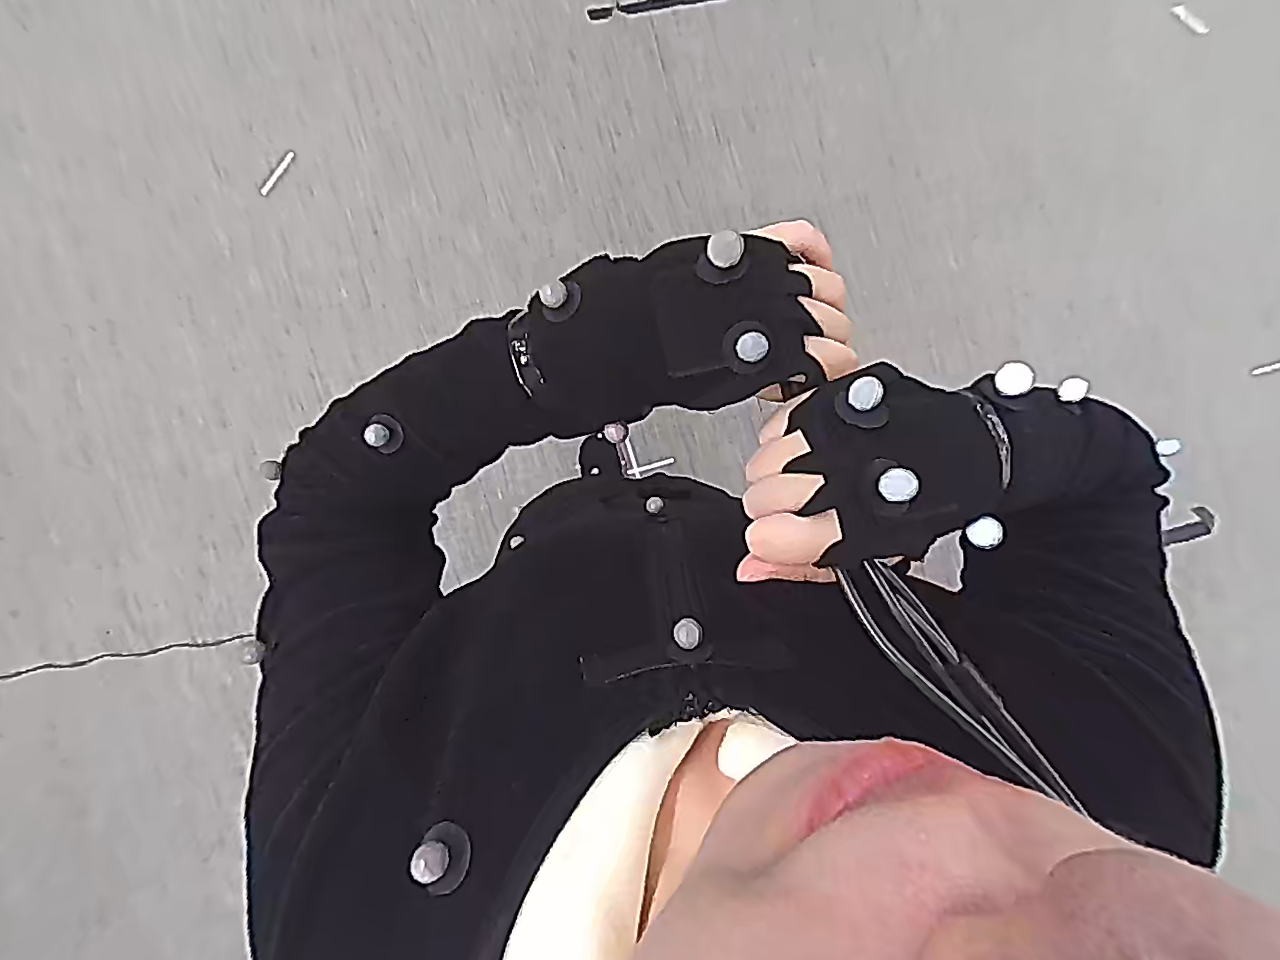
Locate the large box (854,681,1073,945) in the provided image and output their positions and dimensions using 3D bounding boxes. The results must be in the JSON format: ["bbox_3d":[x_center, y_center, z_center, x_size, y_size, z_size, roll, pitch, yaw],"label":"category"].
[{"bbox_3d":[0.713,0.724,1.238,0.320,0.320,0.408,-2,91,-4],"label":"large box"}]
